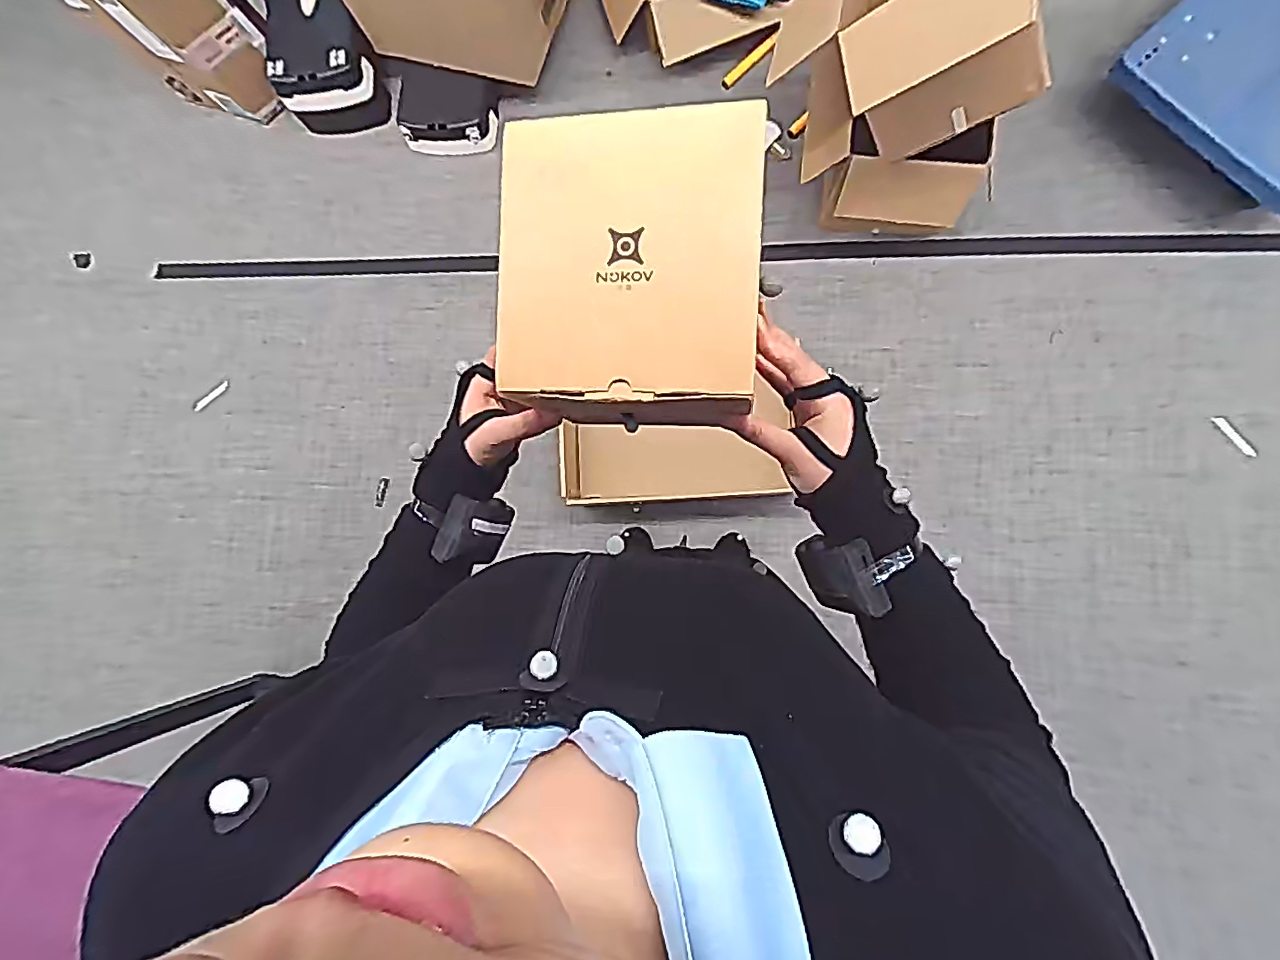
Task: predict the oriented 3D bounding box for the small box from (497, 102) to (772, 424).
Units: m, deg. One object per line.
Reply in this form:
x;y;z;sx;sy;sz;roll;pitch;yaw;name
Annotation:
0.007;-0.139;0.409;0.168;0.176;0.179;2;91;10;small box
